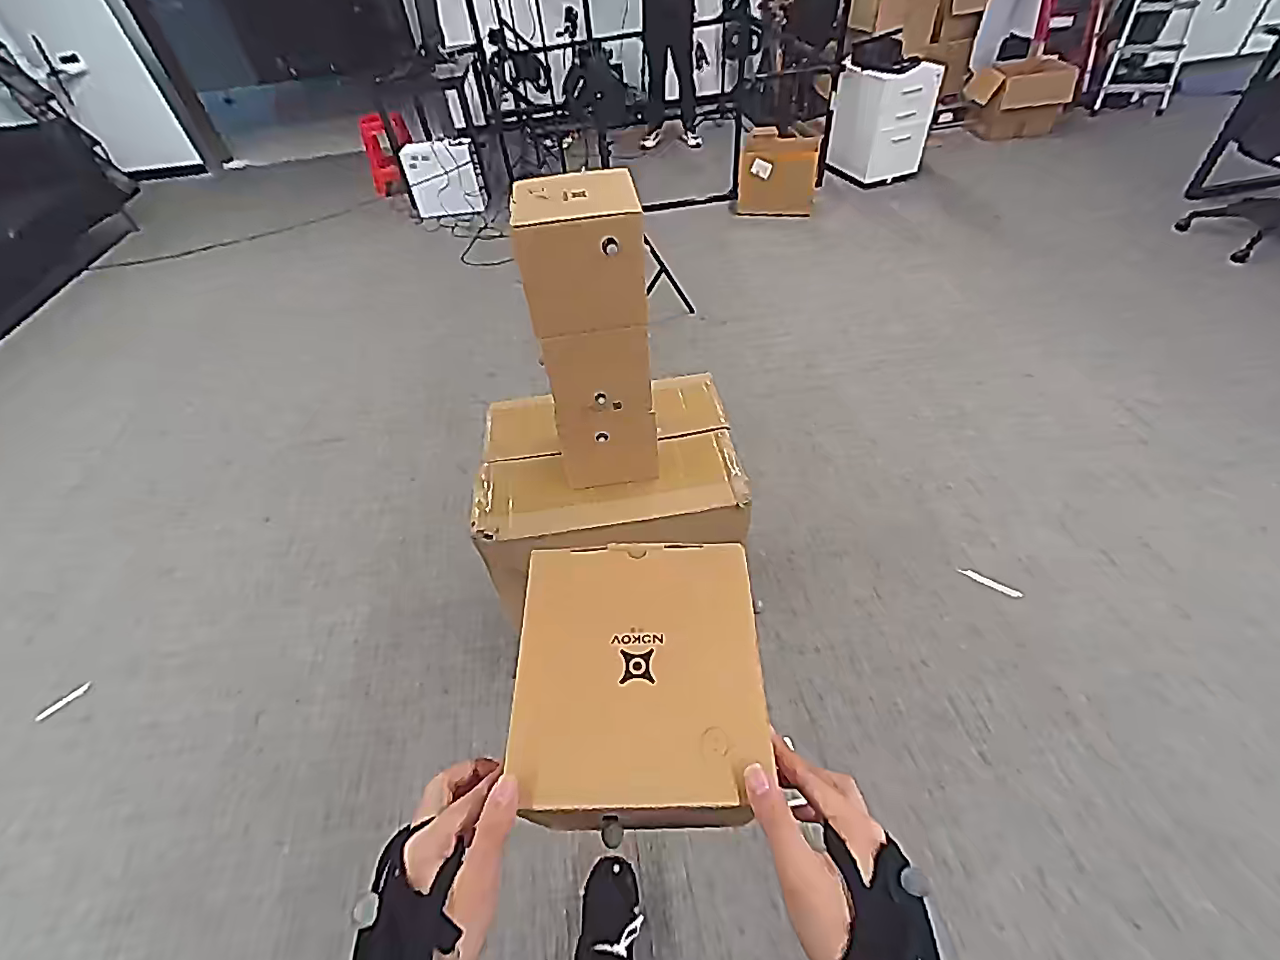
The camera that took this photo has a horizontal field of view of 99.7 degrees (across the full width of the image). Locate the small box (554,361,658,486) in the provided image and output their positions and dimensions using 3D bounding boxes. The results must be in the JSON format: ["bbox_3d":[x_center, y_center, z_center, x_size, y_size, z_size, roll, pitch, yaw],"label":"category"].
[{"bbox_3d":[-0.064,-0.105,1.045,0.179,0.176,0.168,-8,47,-2],"label":"small box"}]

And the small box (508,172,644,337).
[{"bbox_3d":[-0.088,-0.335,0.811,0.179,0.176,0.168,-8,47,-2],"label":"small box"}]

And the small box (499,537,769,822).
[{"bbox_3d":[0.001,0.165,0.430,0.168,0.176,0.179,-3,52,2],"label":"small box"}]
